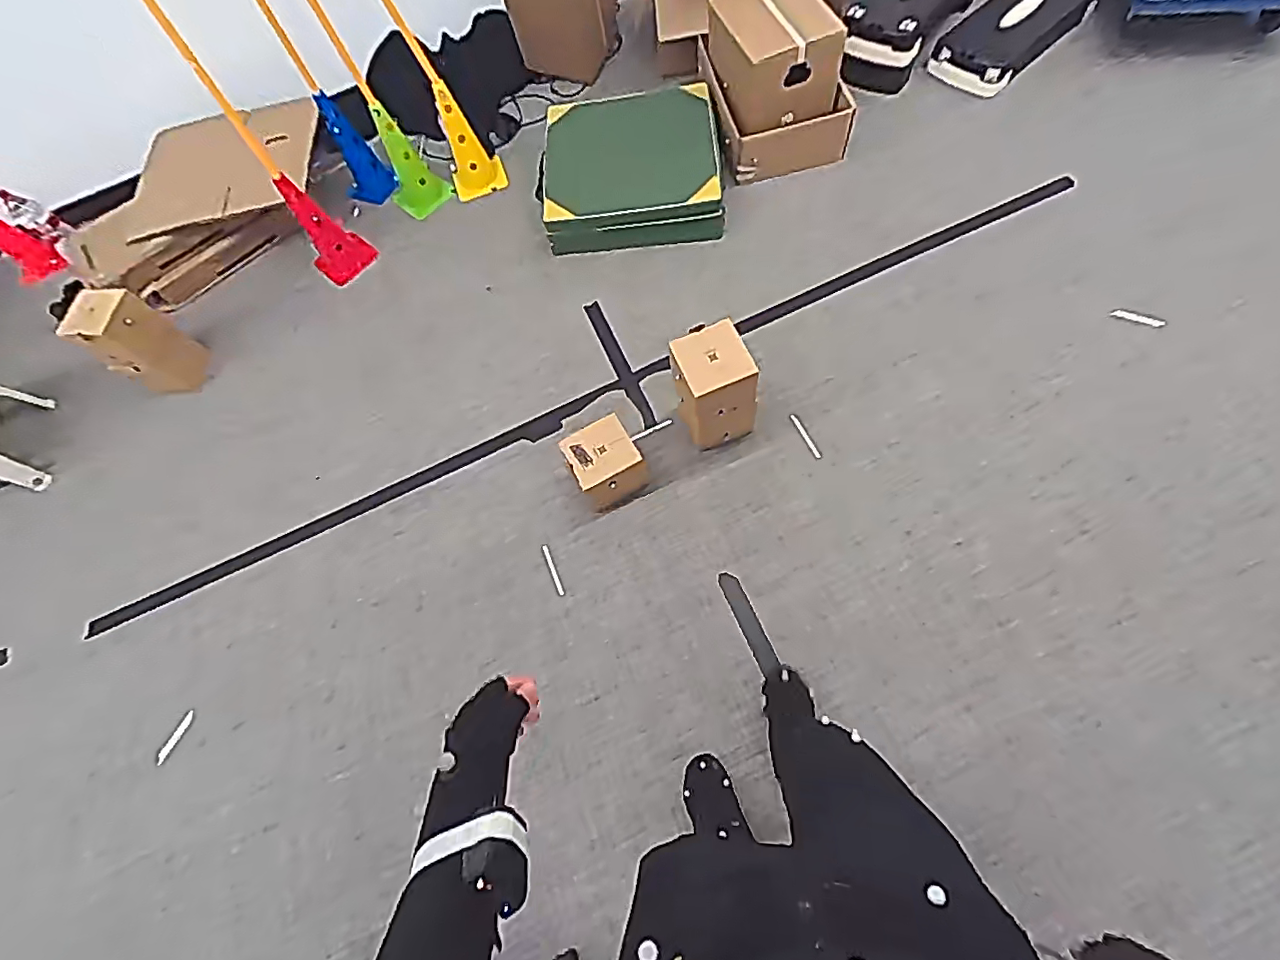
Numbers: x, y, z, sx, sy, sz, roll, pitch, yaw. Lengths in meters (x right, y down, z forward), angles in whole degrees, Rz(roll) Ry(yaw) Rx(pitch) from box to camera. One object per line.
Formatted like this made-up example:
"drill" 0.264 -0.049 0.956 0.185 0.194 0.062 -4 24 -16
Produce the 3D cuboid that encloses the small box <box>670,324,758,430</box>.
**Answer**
"small box" 0.185 -0.257 1.376 0.168 0.176 0.179 -22 67 0

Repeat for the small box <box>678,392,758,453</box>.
"small box" 0.212 -0.202 1.527 0.179 0.176 0.168 -21 65 -3

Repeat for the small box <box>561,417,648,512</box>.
"small box" -0.092 -0.037 1.498 0.179 0.176 0.168 -29 67 -5
